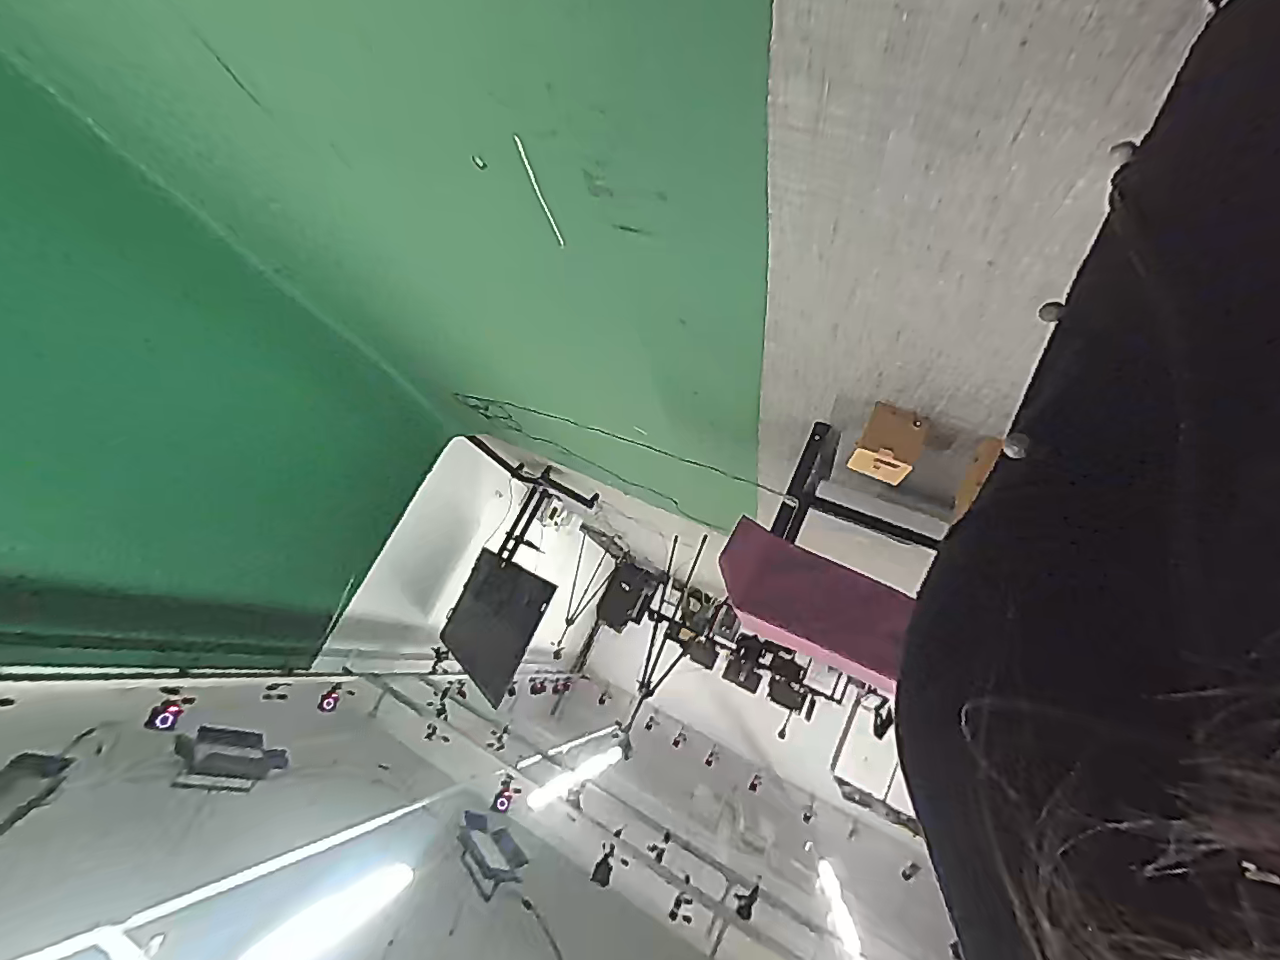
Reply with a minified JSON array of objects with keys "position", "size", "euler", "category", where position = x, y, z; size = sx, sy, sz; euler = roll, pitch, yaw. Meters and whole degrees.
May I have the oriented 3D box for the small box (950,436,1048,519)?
[{"position":[1.060,-0.008,1.598],"size":[0.179,0.176,0.168],"euler":[23,167,20],"category":"small box"}]
